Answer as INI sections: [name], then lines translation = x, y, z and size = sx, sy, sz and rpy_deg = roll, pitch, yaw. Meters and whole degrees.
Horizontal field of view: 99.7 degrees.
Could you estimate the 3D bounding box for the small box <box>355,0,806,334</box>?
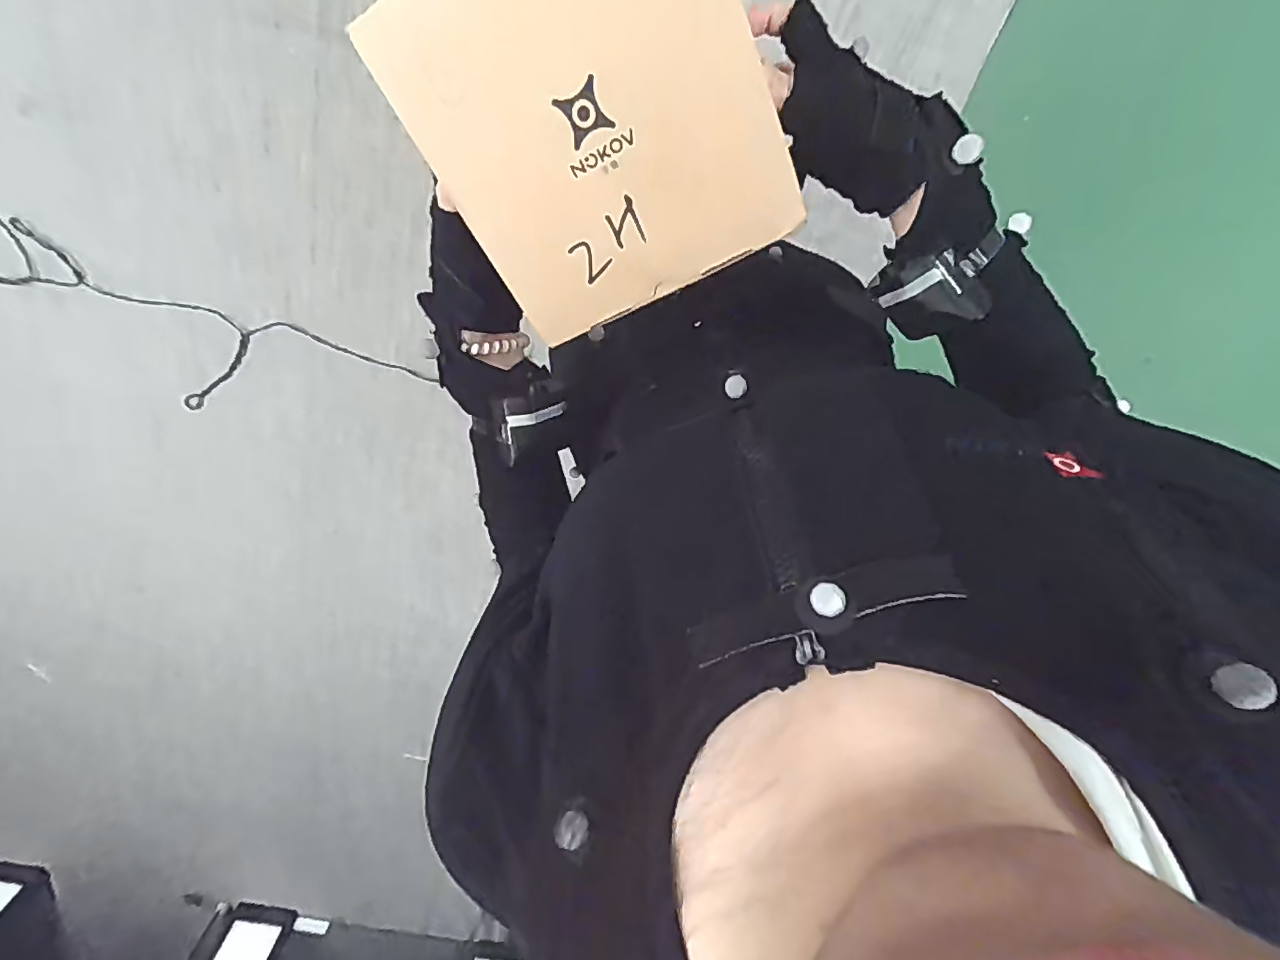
[small box]
translation = -0.015, -0.223, 0.325
size = 0.168, 0.176, 0.179
rpy_deg = -18, 124, 21
